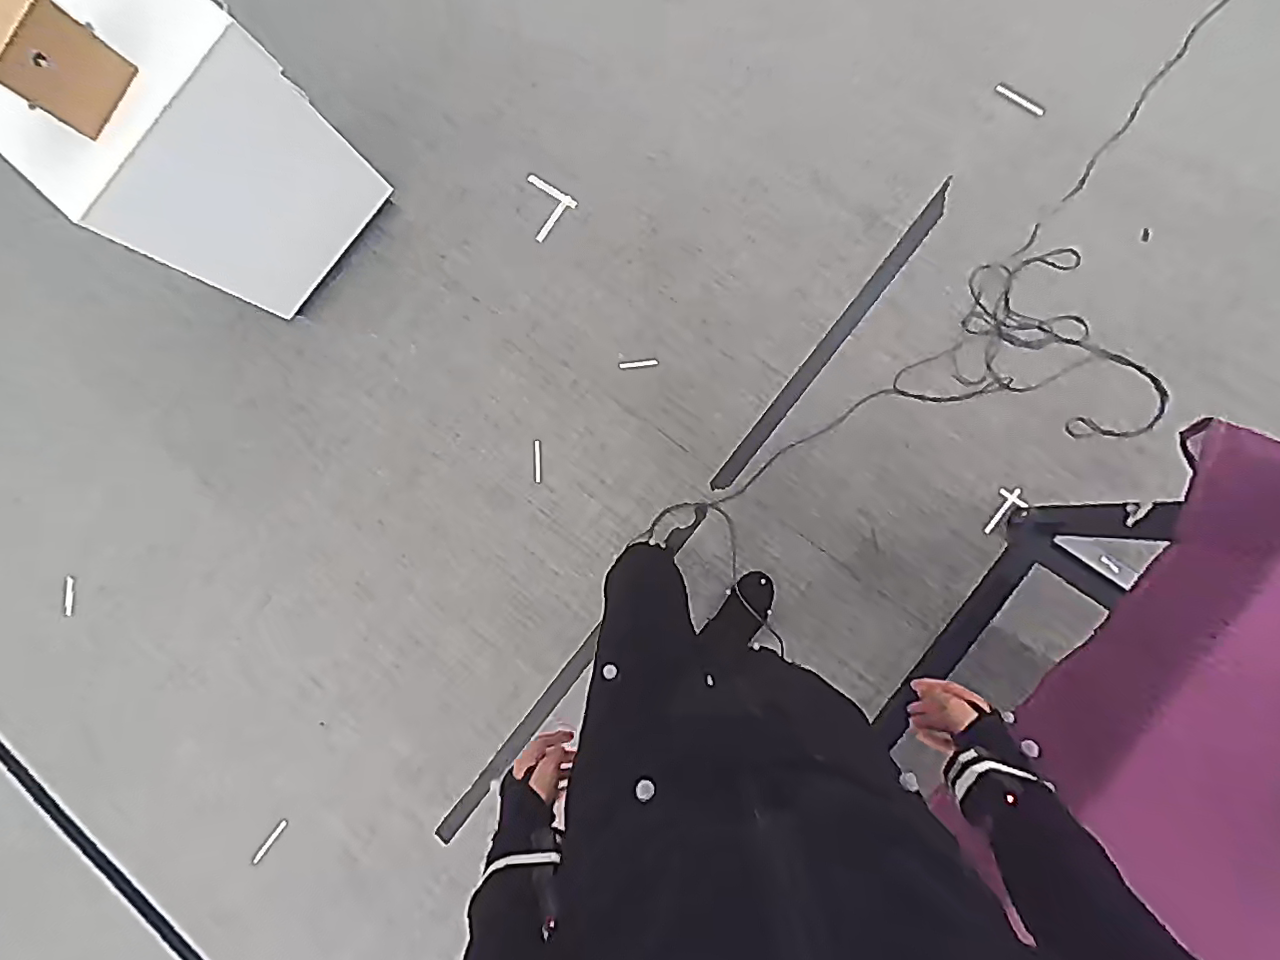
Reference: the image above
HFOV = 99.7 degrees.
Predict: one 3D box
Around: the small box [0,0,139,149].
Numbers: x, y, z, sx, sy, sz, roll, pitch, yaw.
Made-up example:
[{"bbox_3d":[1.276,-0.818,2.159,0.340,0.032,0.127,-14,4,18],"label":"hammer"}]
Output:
[{"bbox_3d":[-1.128,-0.783,1.030,0.168,0.176,0.179,33,90,8],"label":"small box"}]
